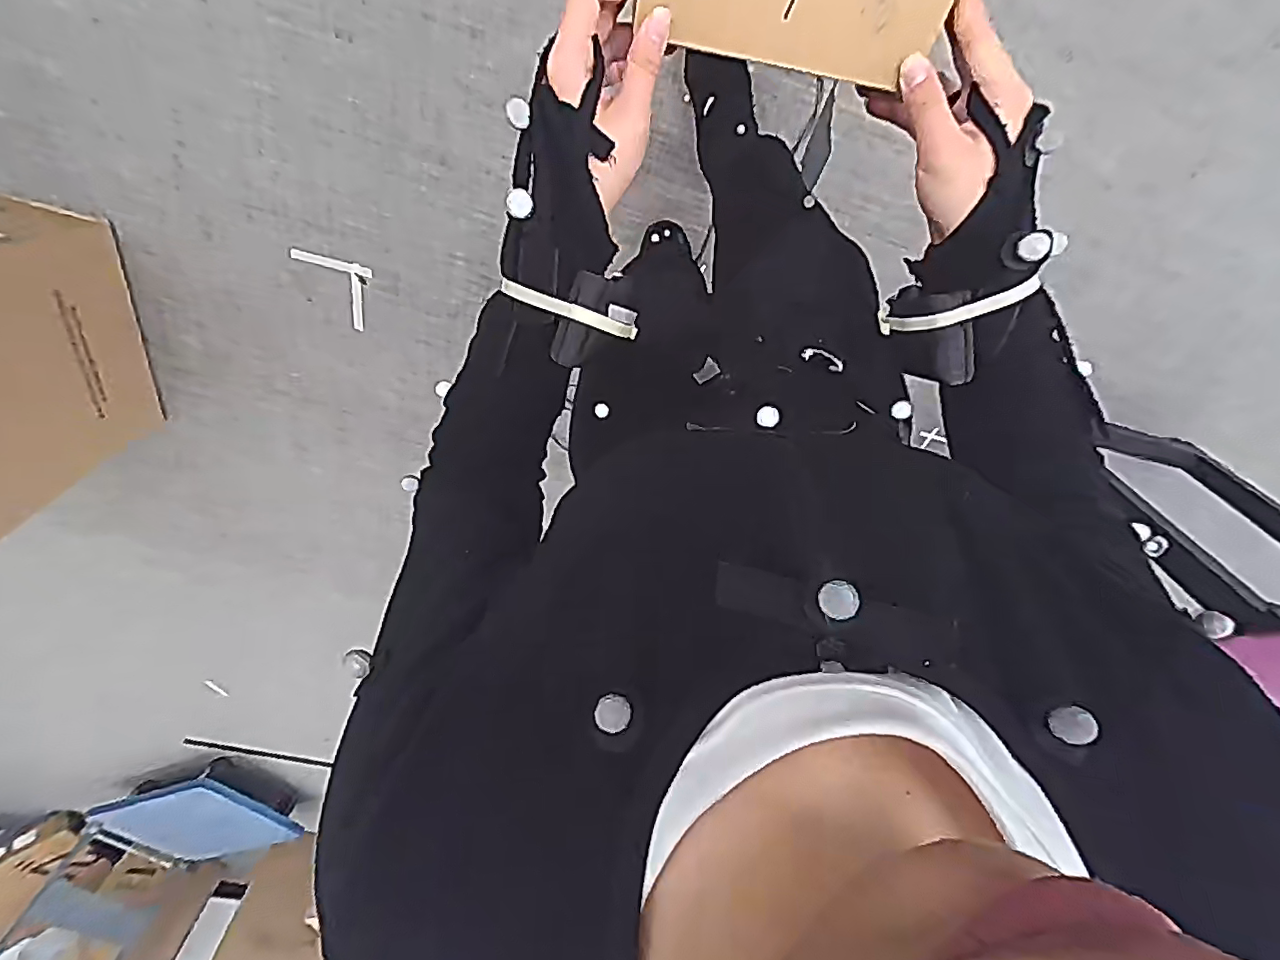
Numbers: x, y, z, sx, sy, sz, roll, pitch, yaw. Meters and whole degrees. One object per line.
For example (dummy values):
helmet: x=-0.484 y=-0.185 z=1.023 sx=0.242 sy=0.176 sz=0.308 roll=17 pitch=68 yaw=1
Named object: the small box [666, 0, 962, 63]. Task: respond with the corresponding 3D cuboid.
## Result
small box: x=0.098 y=-0.359 z=0.280 sx=0.168 sy=0.176 sz=0.179 roll=6 pitch=140 yaw=-8
